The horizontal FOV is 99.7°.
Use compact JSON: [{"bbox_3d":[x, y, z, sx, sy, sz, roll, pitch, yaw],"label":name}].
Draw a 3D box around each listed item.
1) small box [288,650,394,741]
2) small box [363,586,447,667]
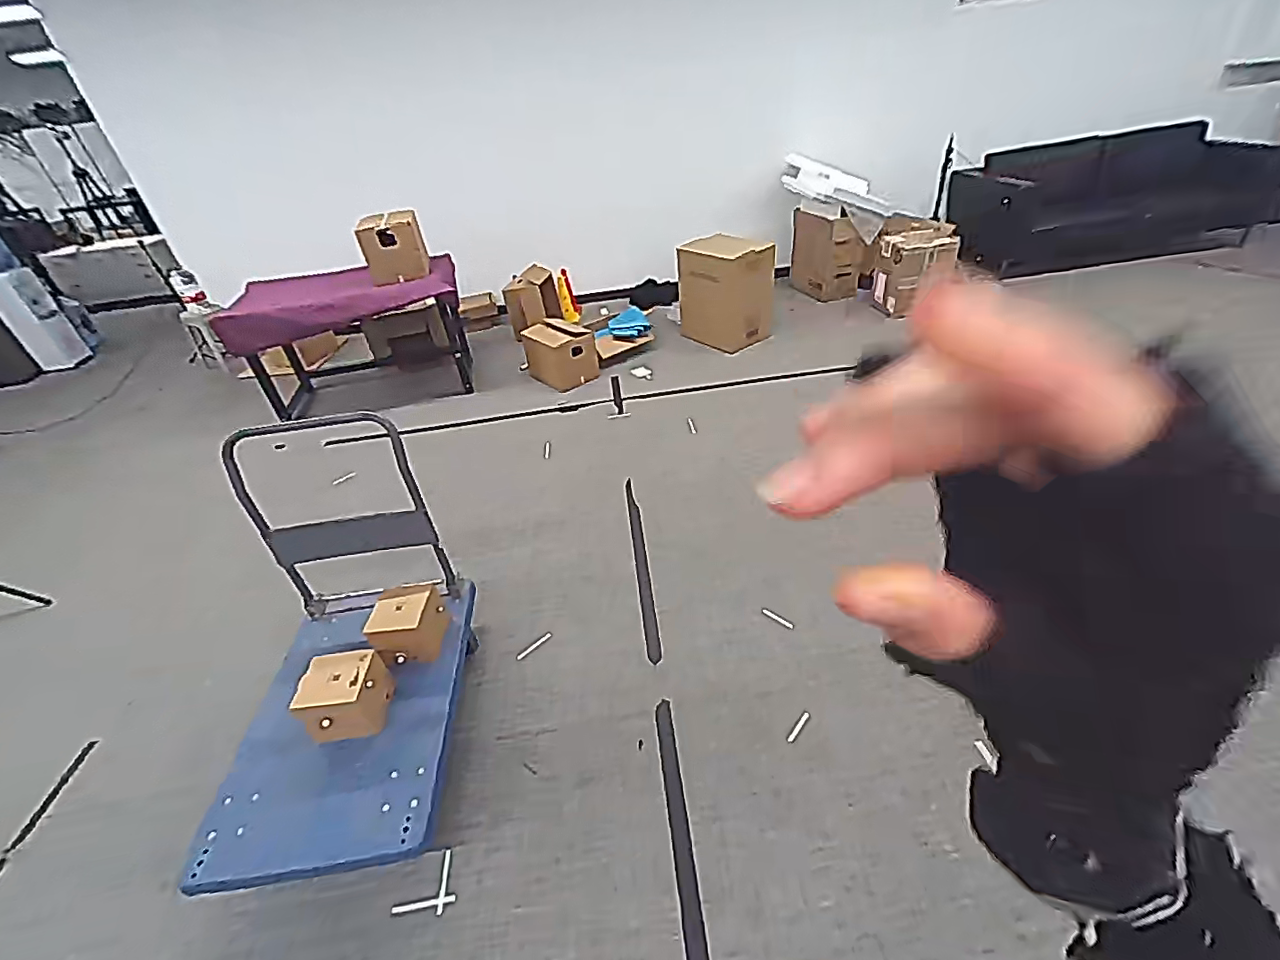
[{"bbox_3d":[-0.820,0.602,1.502,0.179,0.176,0.168,-8,37,0],"label":"small box"},{"bbox_3d":[-0.723,0.457,1.690,0.168,0.176,0.179,-7,37,3],"label":"small box"}]
